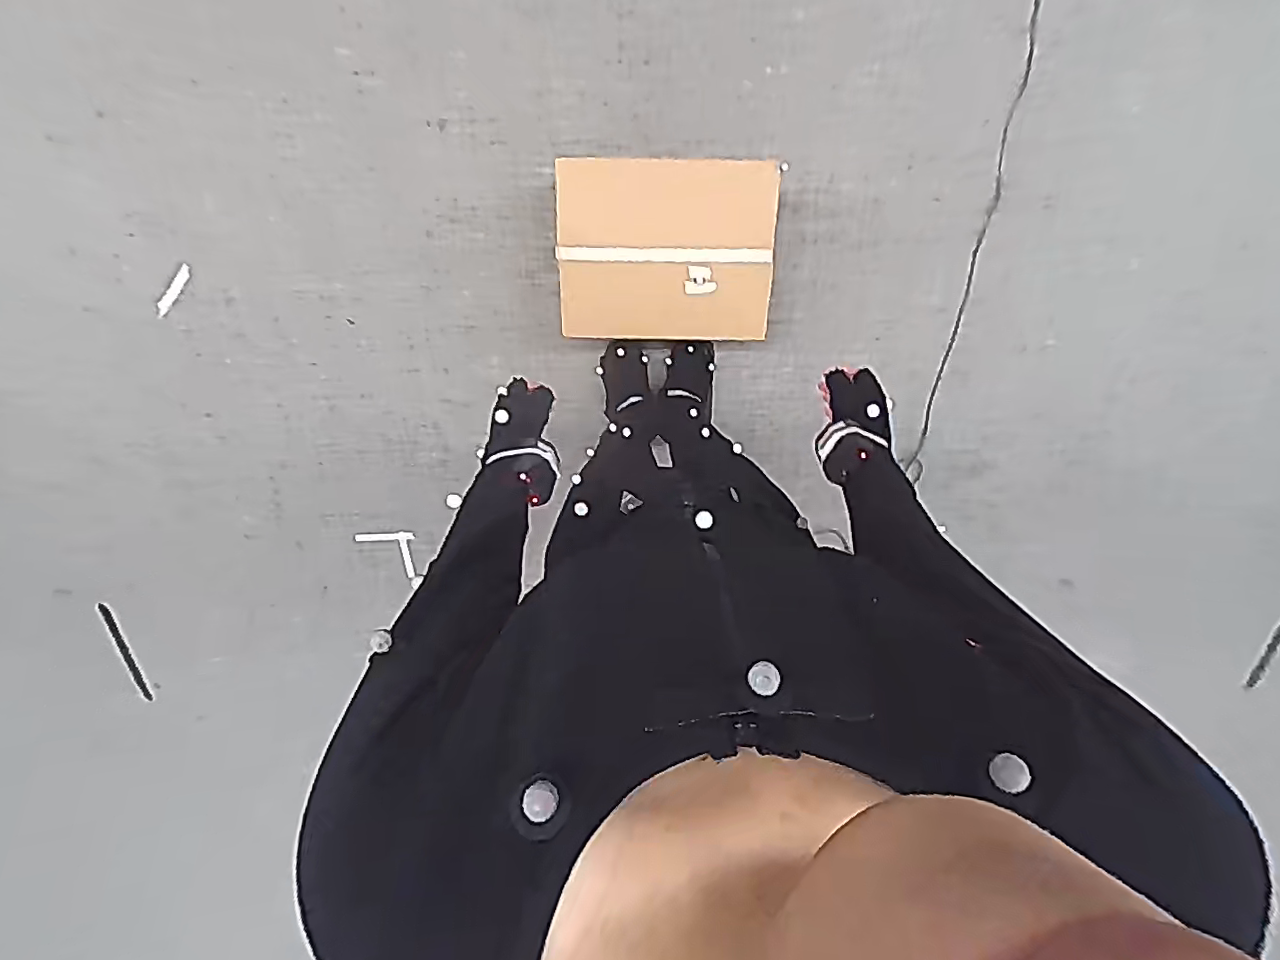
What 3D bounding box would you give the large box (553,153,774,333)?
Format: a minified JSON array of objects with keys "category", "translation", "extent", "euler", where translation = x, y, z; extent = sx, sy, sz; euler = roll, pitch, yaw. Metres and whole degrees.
[{"category":"large box","translation":[0.040,-0.496,1.159],"extent":[0.408,0.320,0.320],"euler":[0,113,-1]}]
